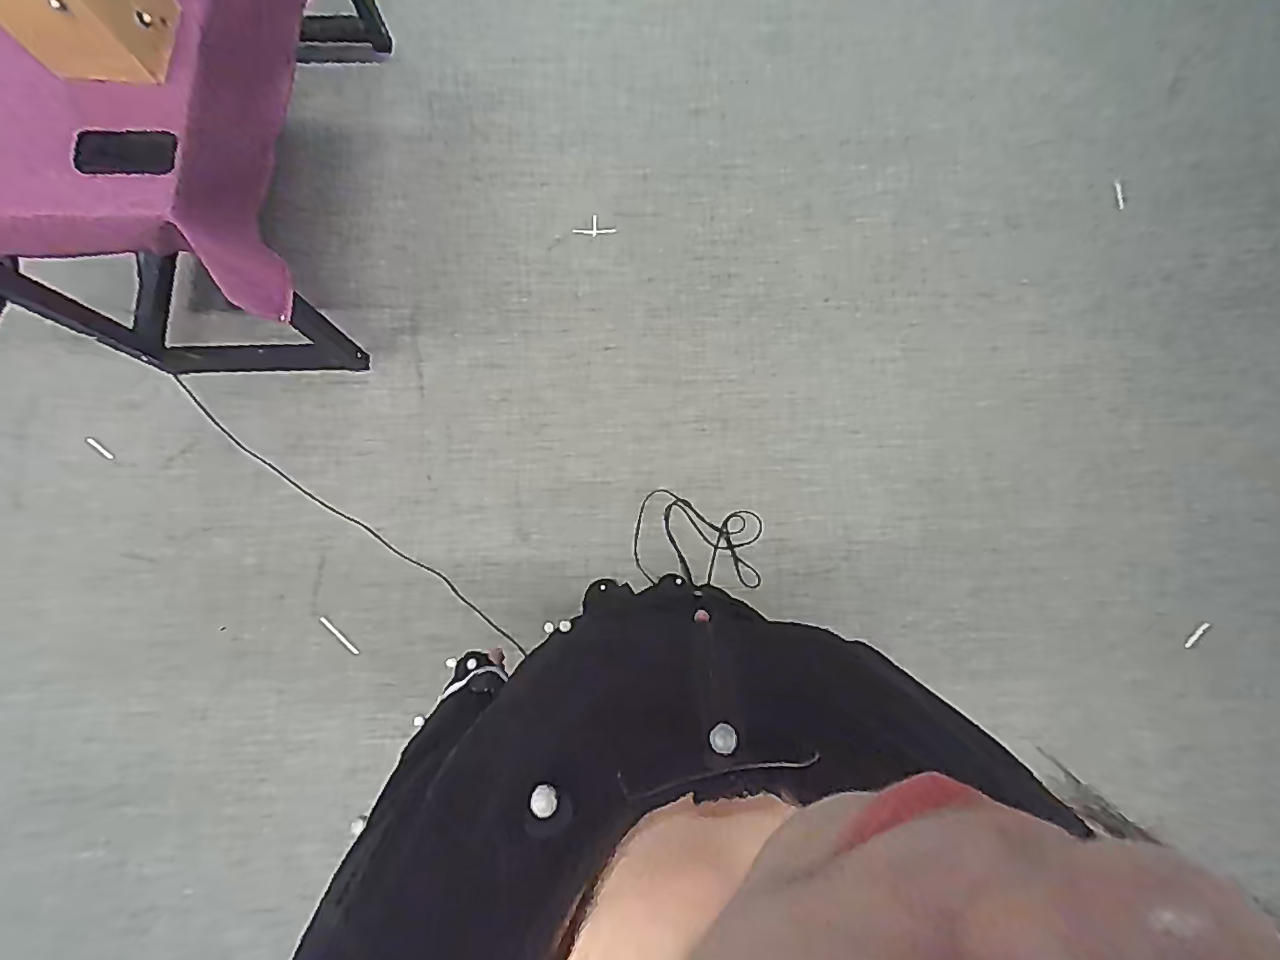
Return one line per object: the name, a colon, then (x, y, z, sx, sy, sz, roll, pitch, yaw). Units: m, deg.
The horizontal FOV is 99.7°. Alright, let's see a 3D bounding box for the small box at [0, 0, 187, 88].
small box: (-0.895, -0.773, 0.870, 0.179, 0.176, 0.168, 3, 79, -1)
